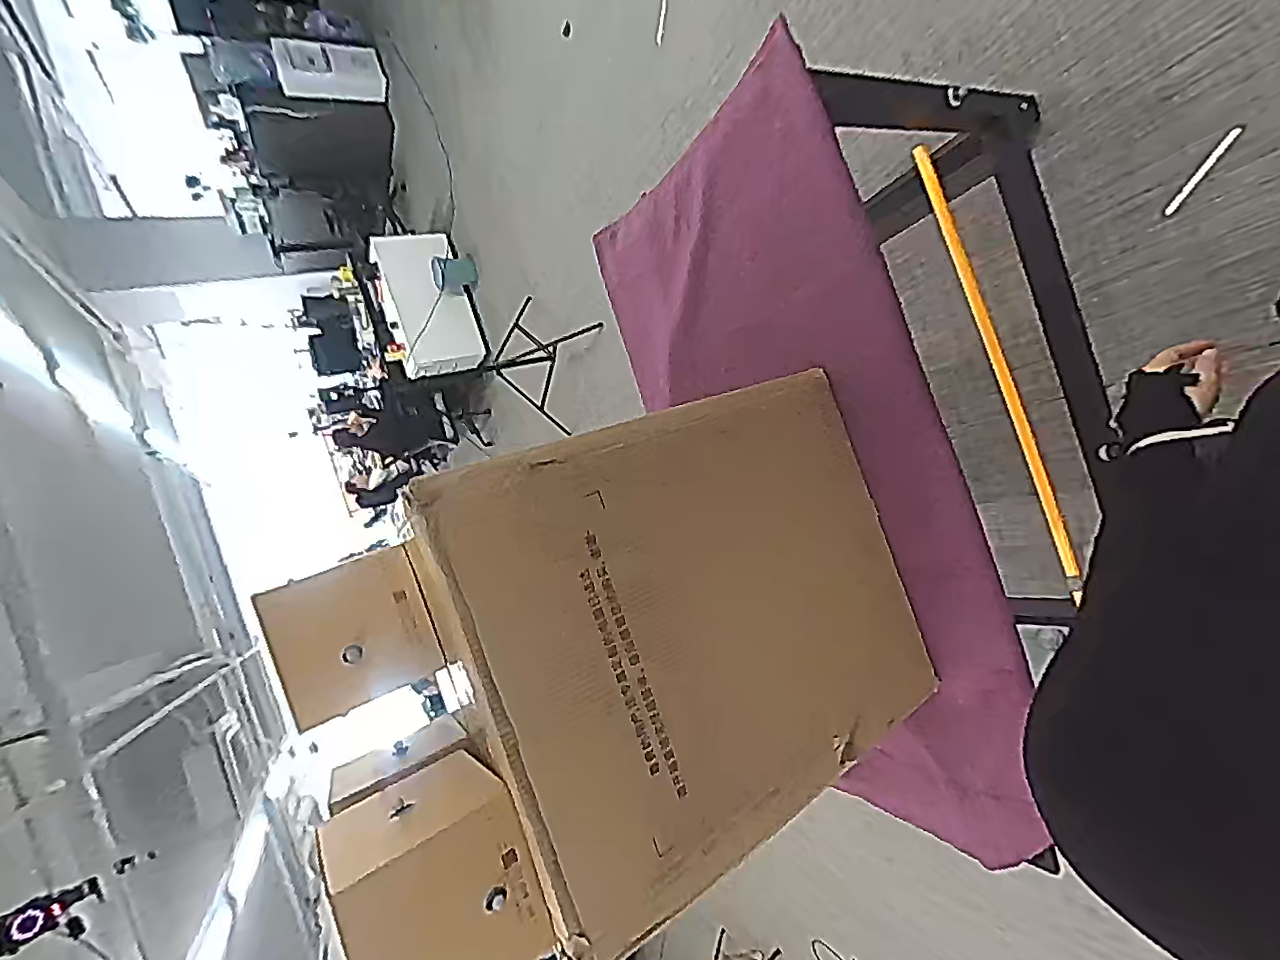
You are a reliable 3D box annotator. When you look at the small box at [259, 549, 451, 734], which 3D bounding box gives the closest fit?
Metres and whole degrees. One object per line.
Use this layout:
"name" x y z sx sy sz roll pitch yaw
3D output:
"small box" -0.362 0.198 0.710 0.179 0.176 0.168 -25 86 62
